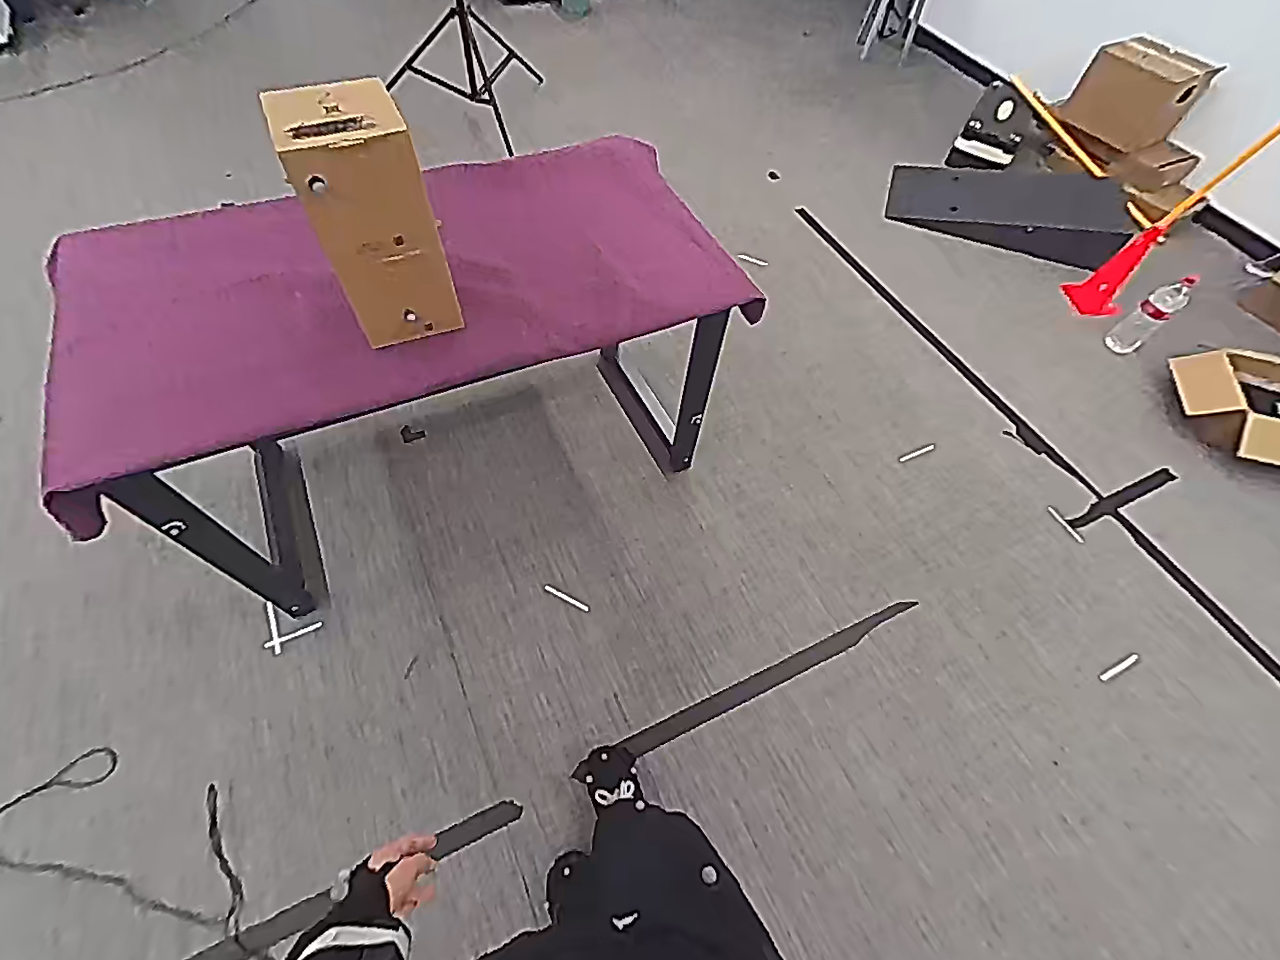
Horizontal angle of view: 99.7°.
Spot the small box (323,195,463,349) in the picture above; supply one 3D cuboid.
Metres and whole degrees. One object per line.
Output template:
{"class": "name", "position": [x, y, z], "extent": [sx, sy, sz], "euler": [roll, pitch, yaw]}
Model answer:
{"class": "small box", "position": [-0.425, -0.361, 0.946], "extent": [0.168, 0.176, 0.179], "euler": [-19, 61, -15]}
